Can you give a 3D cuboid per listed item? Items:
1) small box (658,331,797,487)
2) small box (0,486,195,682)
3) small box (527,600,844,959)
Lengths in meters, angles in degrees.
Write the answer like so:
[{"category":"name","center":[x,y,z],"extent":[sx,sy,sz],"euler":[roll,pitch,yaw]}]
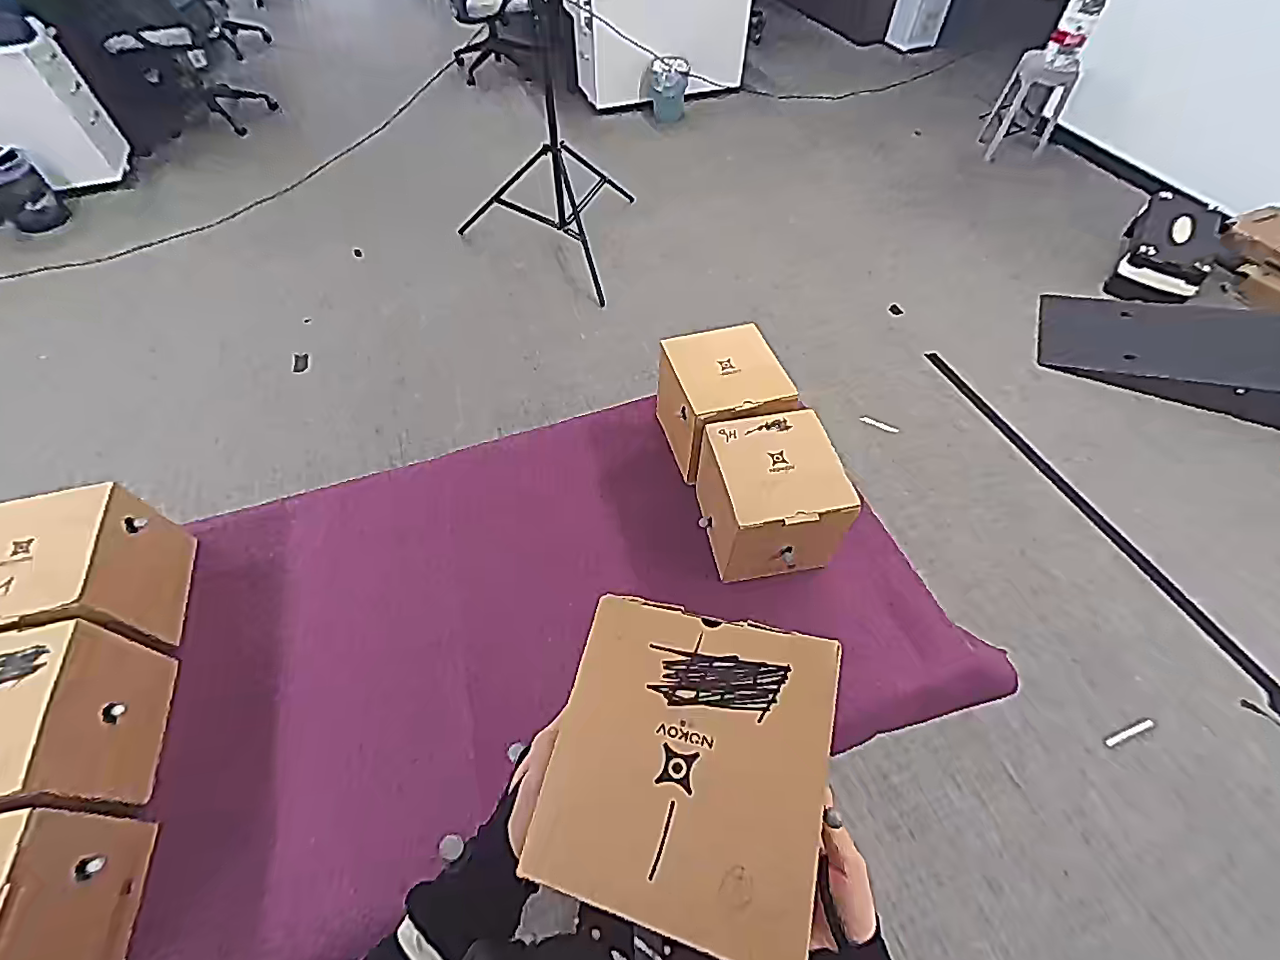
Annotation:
[{"category":"small box","center":[0.132,-0.117,0.899],"extent":[0.168,0.176,0.179],"euler":[-13,55,-11]},{"category":"small box","center":[-0.729,0.138,0.704],"extent":[0.168,0.176,0.179],"euler":[-13,57,-10]},{"category":"small box","center":[0.048,0.212,0.398],"extent":[0.168,0.176,0.179],"euler":[7,61,20]}]
